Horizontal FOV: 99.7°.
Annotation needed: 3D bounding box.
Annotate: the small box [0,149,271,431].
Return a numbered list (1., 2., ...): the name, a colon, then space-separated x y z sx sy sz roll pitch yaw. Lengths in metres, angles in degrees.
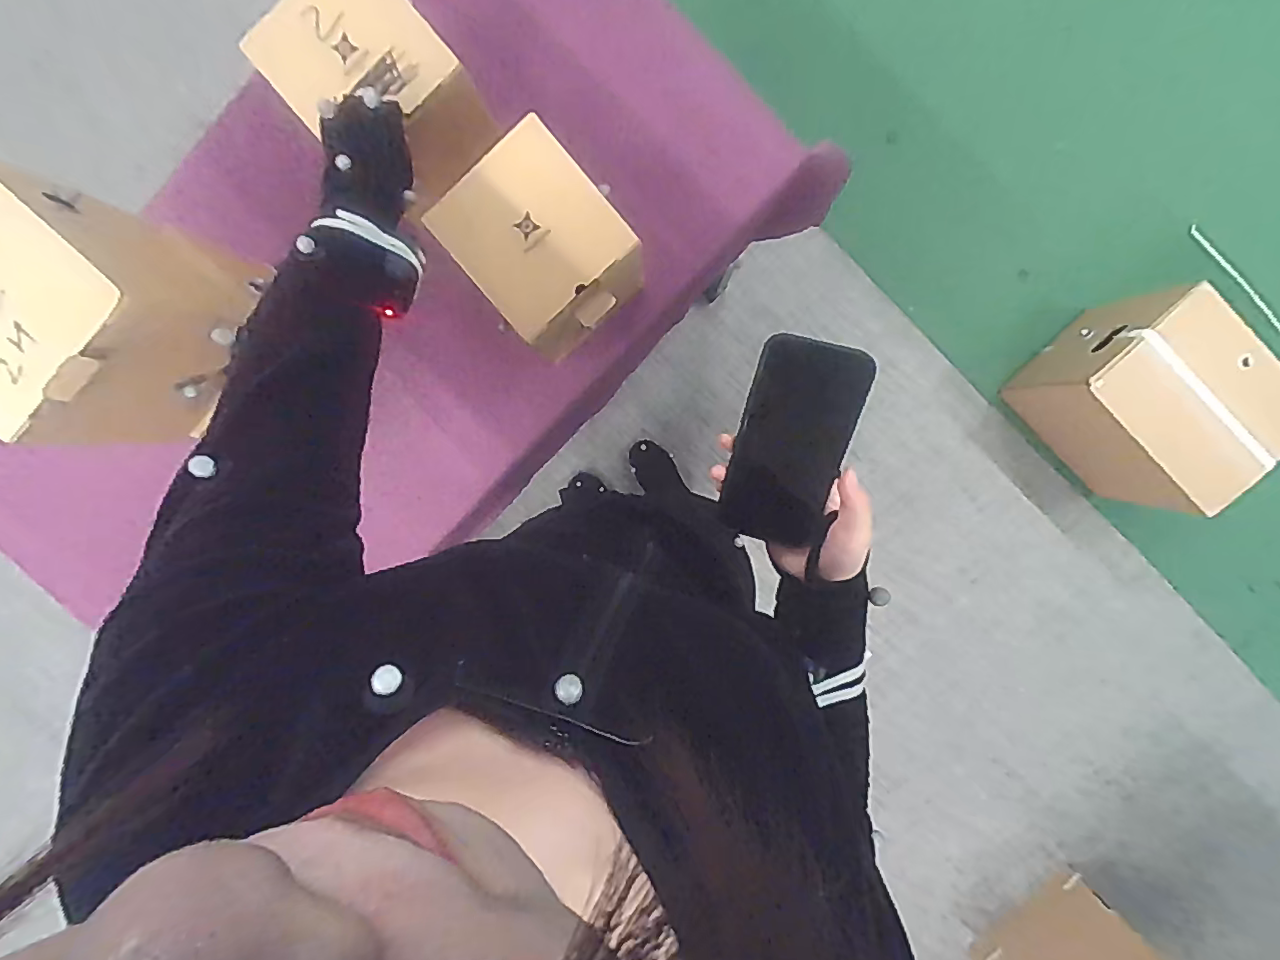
1. small box: -0.518 -0.160 0.516 0.179 0.176 0.168 44 96 -3

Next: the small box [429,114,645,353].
1. small box: -0.110 -0.276 0.655 0.168 0.176 0.179 -40 94 6
